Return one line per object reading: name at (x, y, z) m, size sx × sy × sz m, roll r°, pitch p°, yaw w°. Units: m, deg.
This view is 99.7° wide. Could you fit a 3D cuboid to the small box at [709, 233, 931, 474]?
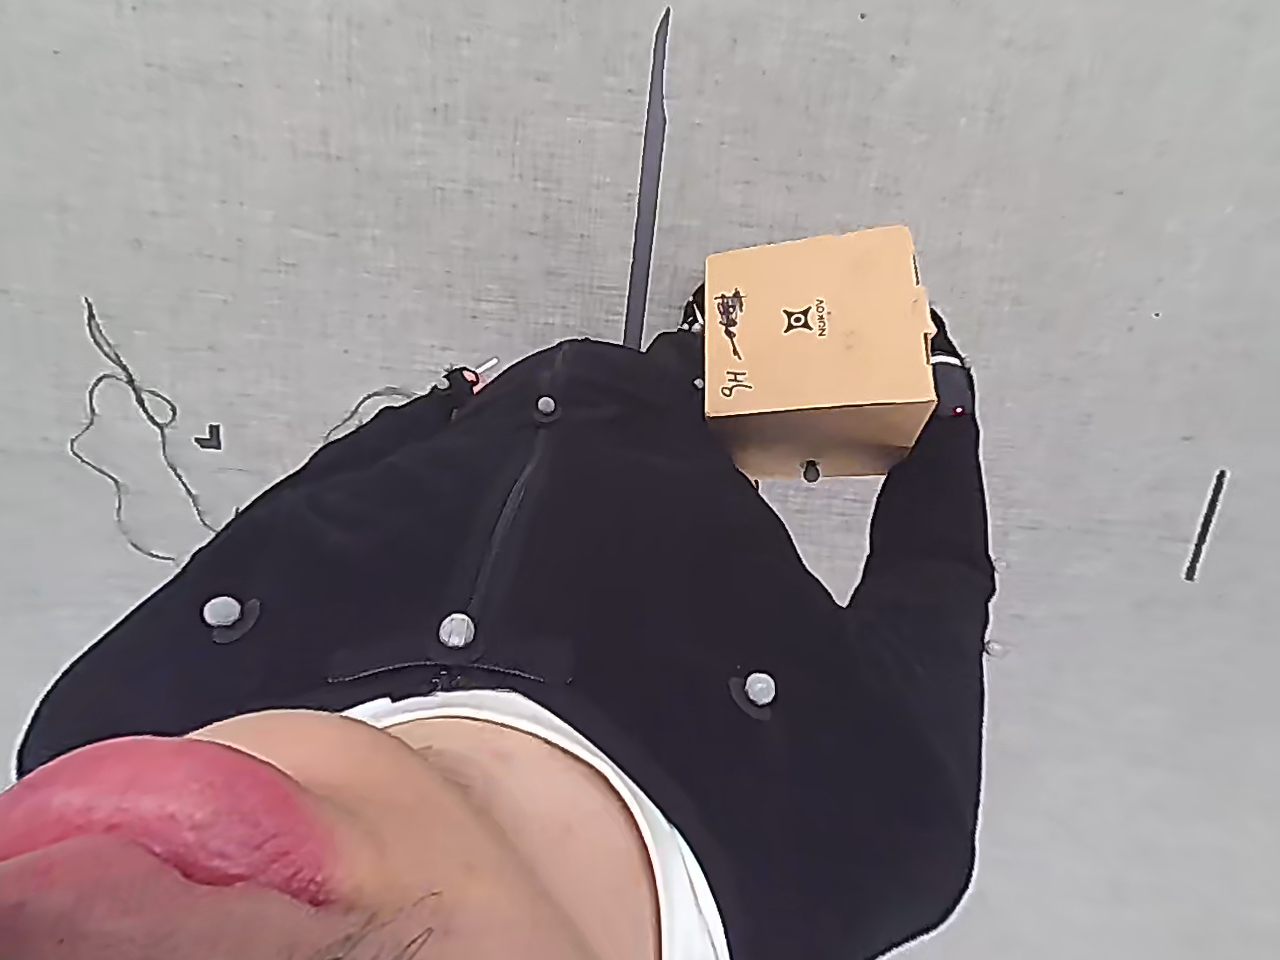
small box at (0.165, -0.110, 0.538) m, size 0.179 × 0.176 × 0.168 m, roll -2°, pitch 70°, yaw 14°
